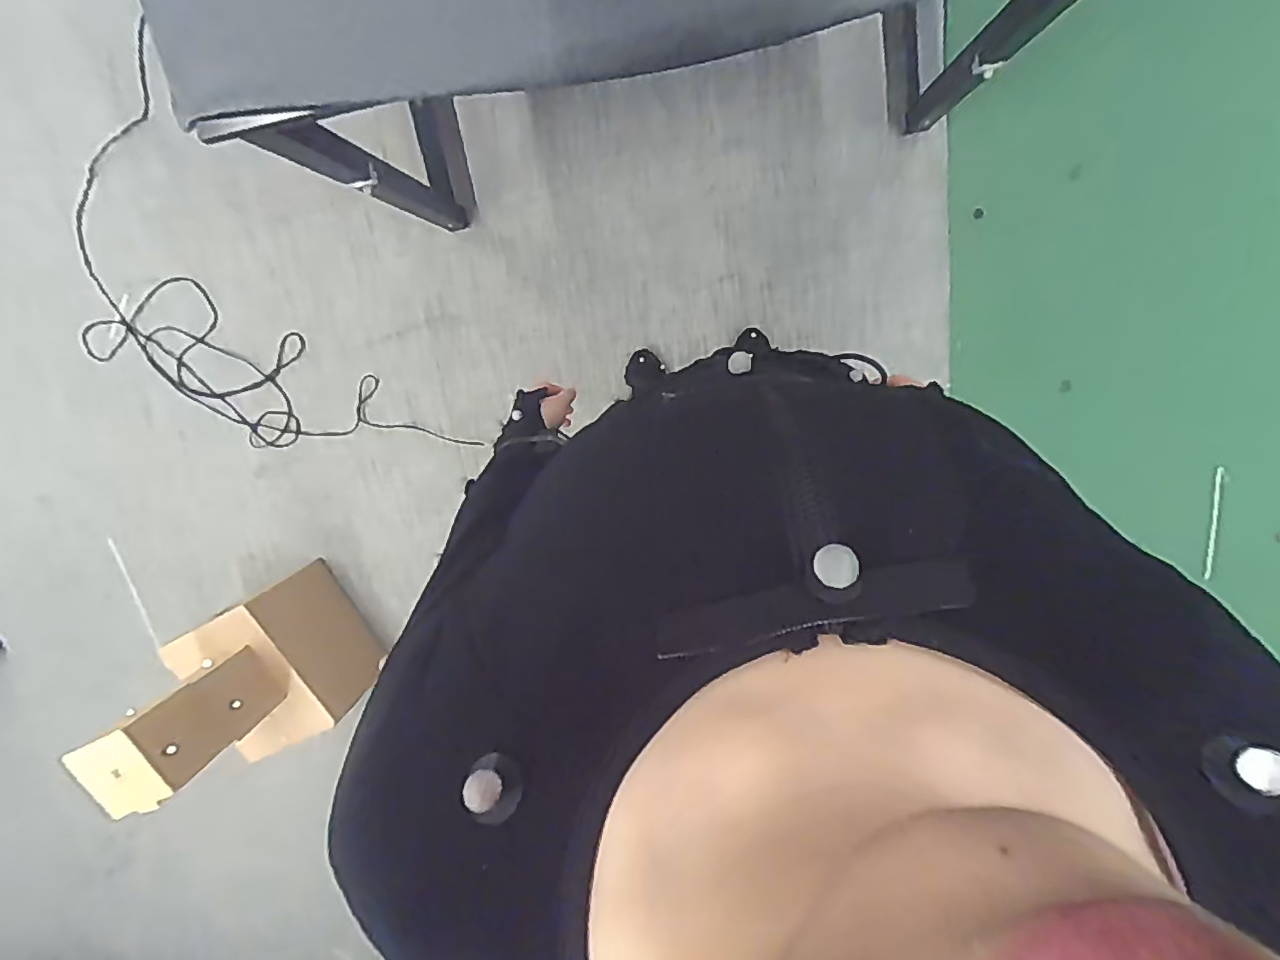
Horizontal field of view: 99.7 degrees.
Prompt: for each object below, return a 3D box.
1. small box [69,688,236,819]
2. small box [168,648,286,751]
[{"bbox_3d":[-1.052,0.584,1.183,0.168,0.176,0.179,-26,102,9],"label":"small box"},{"bbox_3d":[-1.035,0.556,1.343,0.168,0.176,0.179,-26,101,10],"label":"small box"}]
